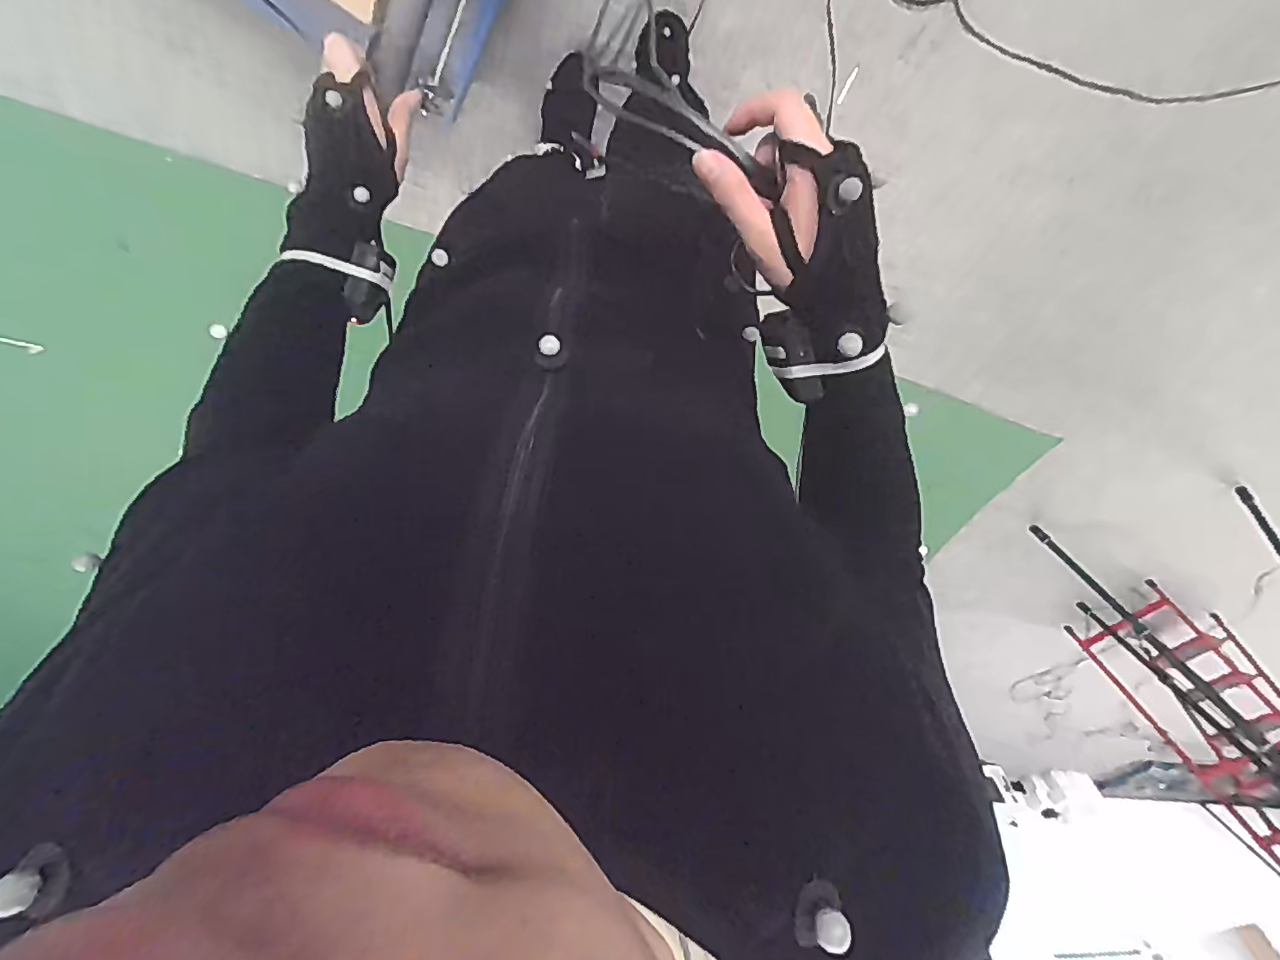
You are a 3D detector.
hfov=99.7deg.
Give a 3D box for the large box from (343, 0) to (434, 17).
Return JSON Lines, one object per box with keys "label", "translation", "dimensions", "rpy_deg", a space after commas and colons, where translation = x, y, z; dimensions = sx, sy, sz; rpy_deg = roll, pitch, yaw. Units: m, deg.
{"label": "large box", "translation": [-0.448, -0.899, 0.687], "dimensions": [0.408, 0.320, 0.320], "rpy_deg": [25, 126, -24]}
